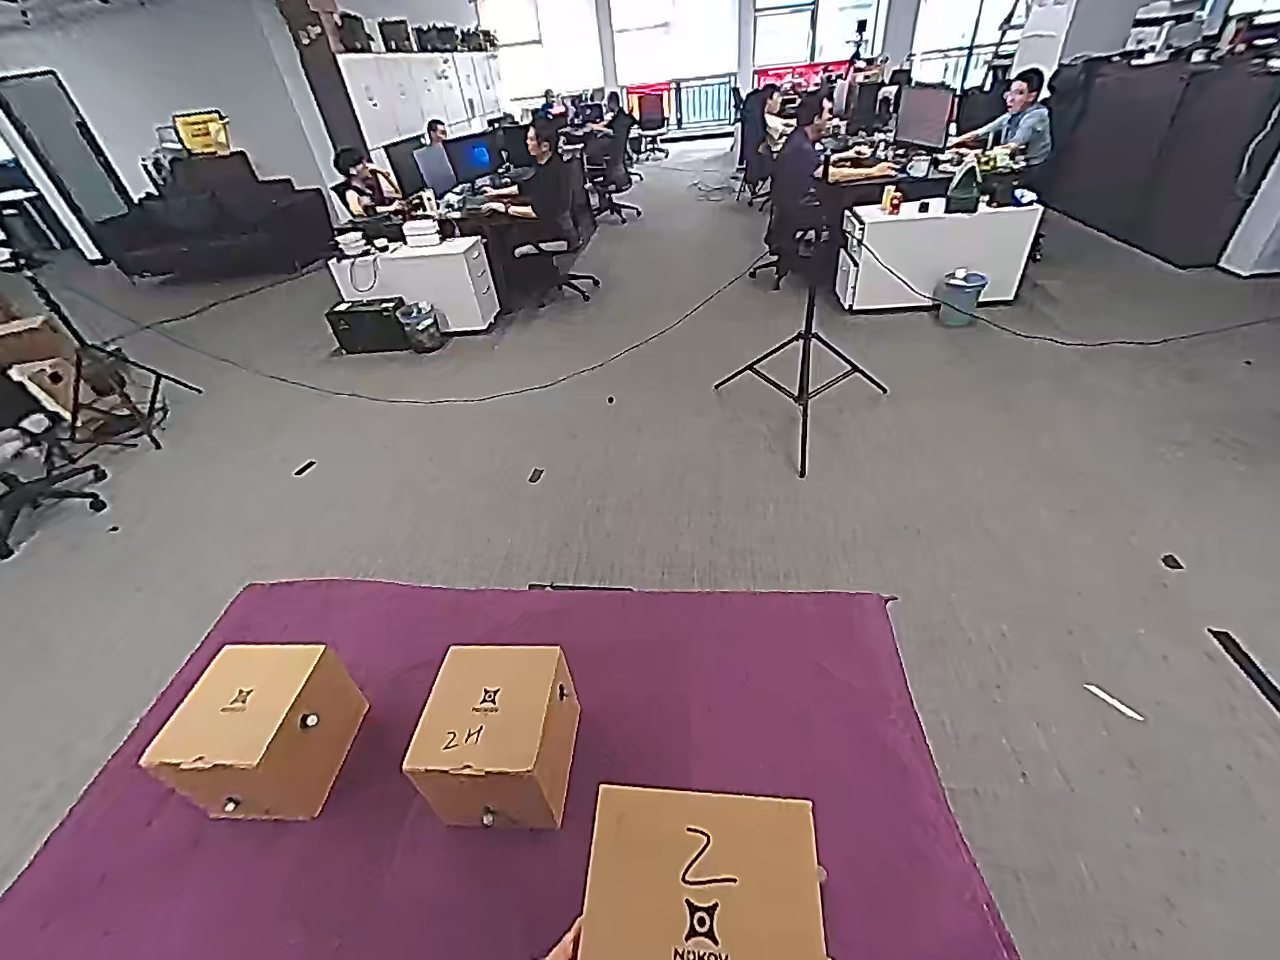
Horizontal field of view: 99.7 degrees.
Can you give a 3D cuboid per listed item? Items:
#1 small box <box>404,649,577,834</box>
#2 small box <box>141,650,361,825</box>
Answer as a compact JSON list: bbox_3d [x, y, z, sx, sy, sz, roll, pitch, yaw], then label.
[{"bbox_3d":[-0.188,0.357,0.748,0.168,0.176,0.179,-2,38,7],"label":"small box"},{"bbox_3d":[-0.539,0.371,0.787,0.168,0.176,0.179,-2,39,5],"label":"small box"}]
